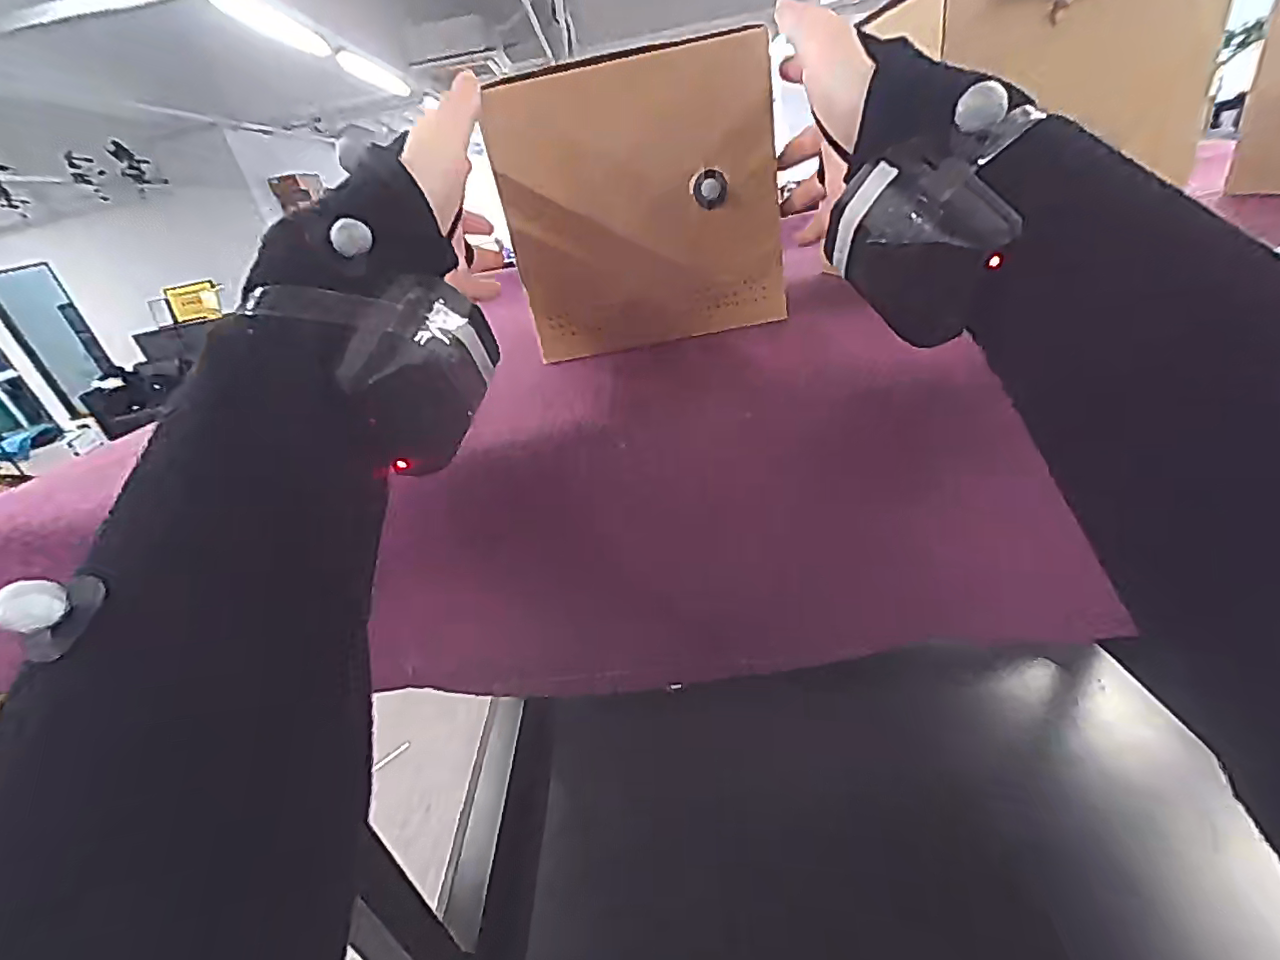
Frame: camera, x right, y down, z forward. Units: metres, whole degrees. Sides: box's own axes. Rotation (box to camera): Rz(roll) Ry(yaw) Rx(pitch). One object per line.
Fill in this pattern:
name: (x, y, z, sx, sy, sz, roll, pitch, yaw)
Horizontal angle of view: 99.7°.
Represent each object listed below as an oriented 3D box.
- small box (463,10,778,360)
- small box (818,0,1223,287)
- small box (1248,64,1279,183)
small box: (-0.001, -0.203, 0.401, 0.179, 0.176, 0.168, -10, 27, 4)
small box: (0.239, -0.240, 0.376, 0.168, 0.176, 0.179, -12, 27, -1)
small box: (0.565, -0.291, 0.338, 0.168, 0.176, 0.179, -9, 28, 7)
